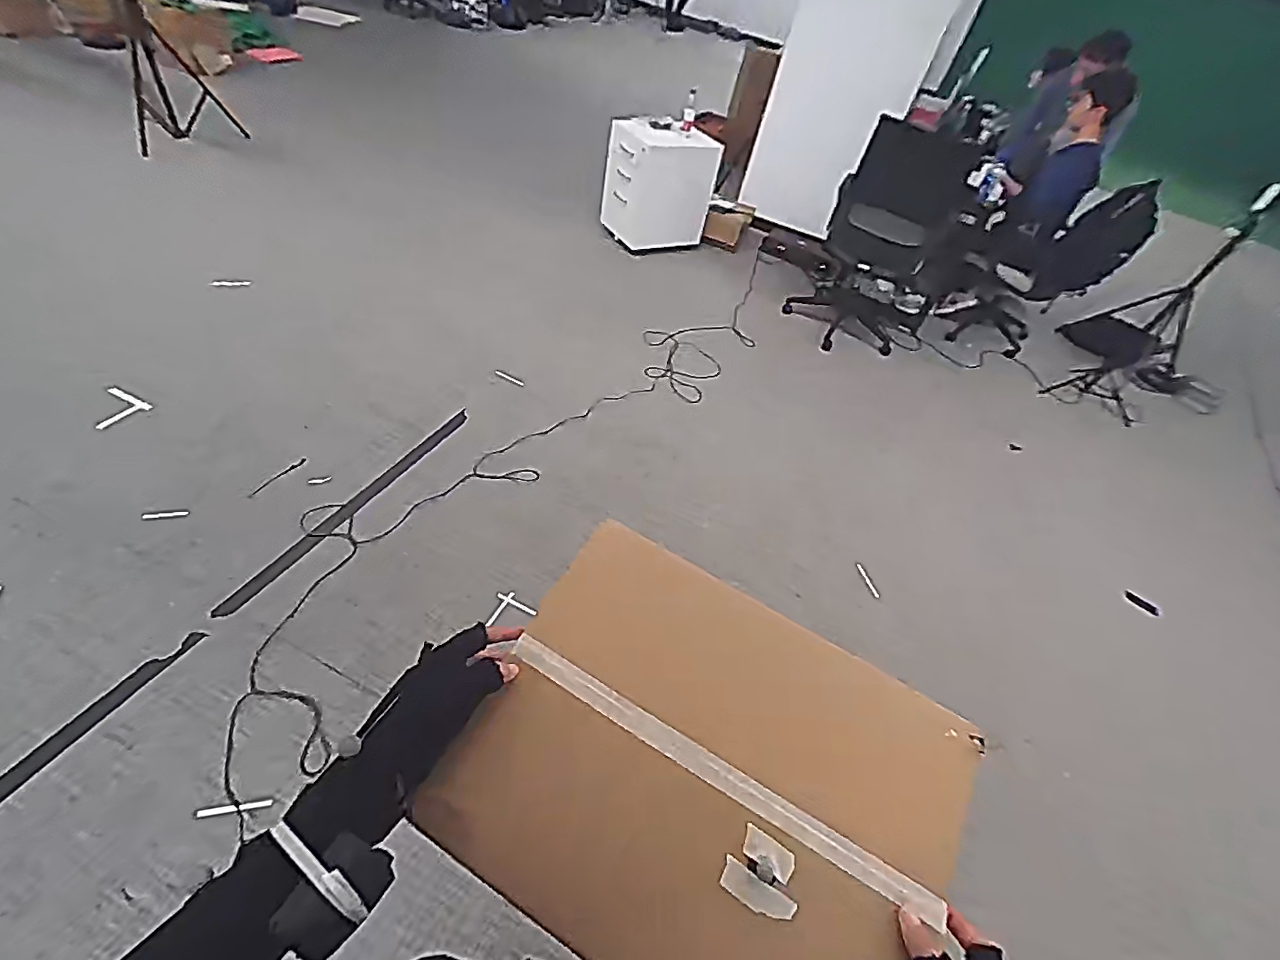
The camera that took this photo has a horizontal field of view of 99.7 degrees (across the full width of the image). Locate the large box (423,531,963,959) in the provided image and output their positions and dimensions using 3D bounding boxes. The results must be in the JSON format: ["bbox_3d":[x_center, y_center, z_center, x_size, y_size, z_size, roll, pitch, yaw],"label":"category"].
[{"bbox_3d":[0.049,0.328,0.605,0.408,0.320,0.320,29,61,12],"label":"large box"}]
